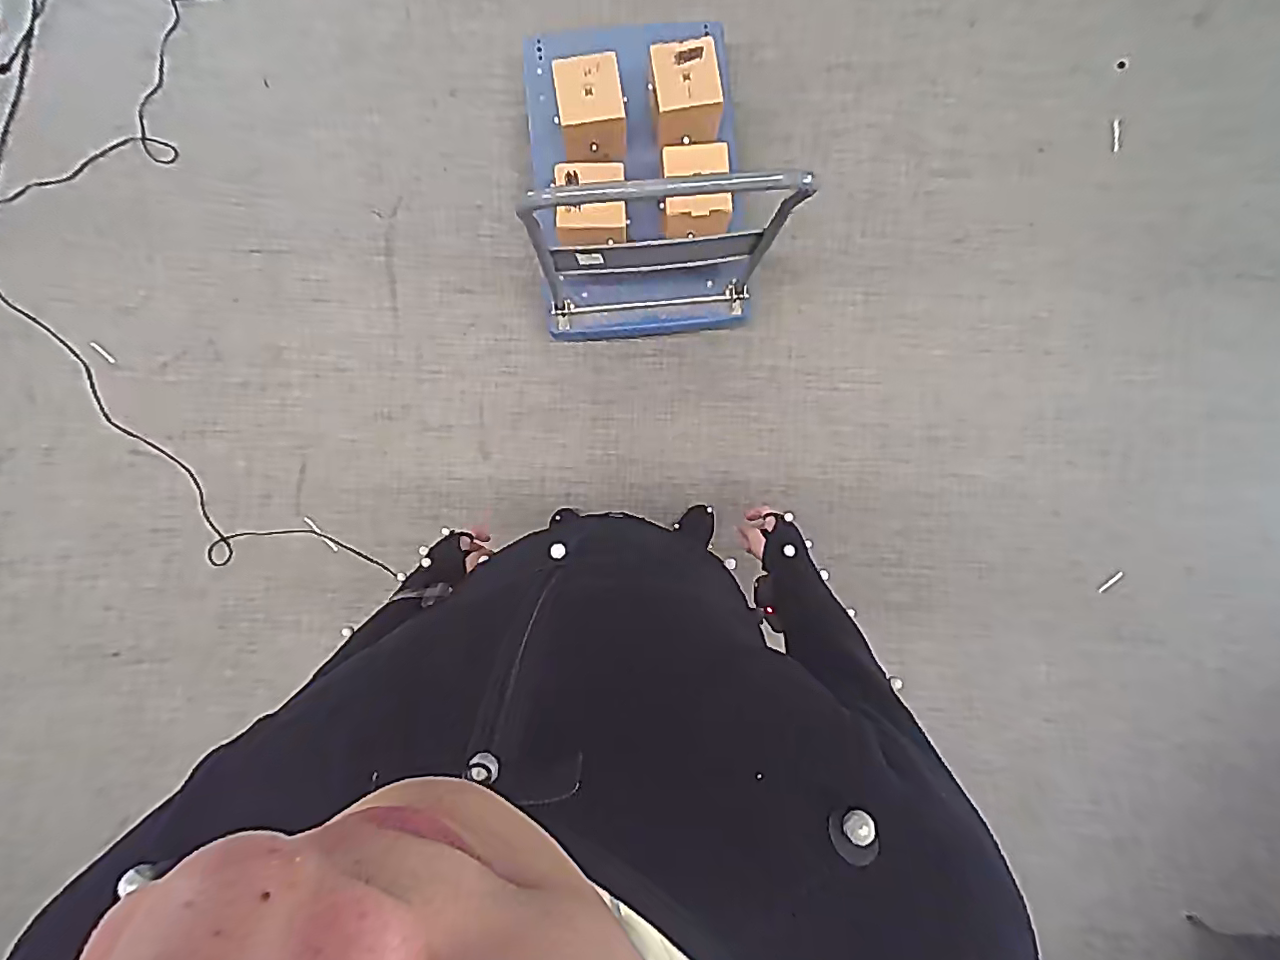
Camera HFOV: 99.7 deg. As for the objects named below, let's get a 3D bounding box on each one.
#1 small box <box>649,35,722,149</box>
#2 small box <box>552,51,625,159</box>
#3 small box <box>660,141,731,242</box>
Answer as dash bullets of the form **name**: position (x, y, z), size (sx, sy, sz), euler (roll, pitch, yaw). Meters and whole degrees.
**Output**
- **small box**: position (0.116, -1.034, 1.452), size (0.168, 0.176, 0.179), euler (-9, 89, 0)
- **small box**: position (-0.132, -0.992, 1.449), size (0.168, 0.176, 0.179), euler (-9, 88, -2)
- **small box**: position (0.143, -0.764, 1.443), size (0.168, 0.176, 0.179), euler (-5, 88, -1)
